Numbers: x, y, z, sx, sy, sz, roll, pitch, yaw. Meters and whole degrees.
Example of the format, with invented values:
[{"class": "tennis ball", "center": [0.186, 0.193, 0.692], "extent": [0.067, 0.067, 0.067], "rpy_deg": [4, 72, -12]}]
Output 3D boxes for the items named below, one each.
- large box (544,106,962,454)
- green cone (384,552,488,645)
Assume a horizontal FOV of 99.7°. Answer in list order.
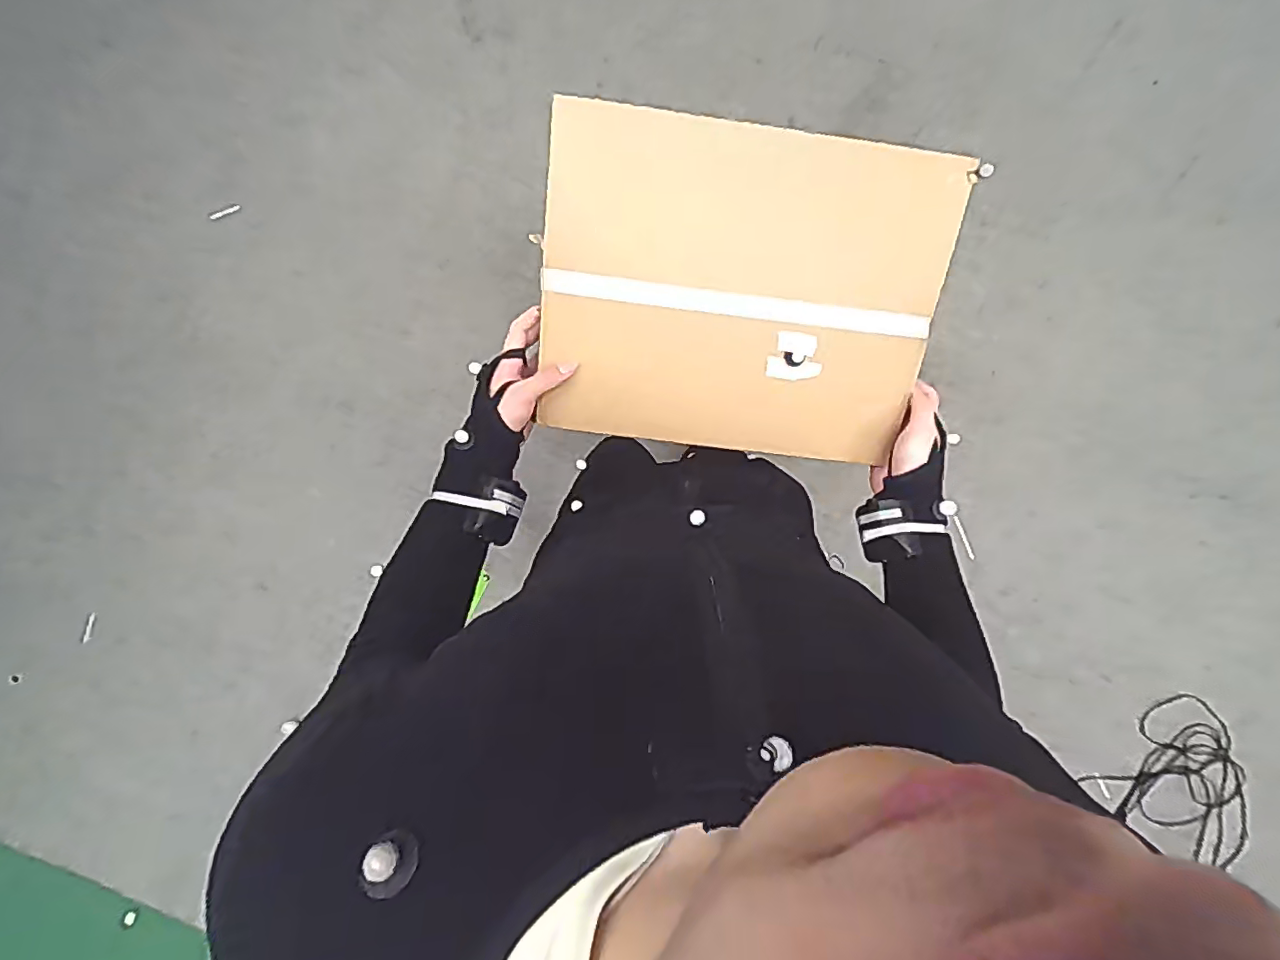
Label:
[{"class": "large box", "center": [0.096, -0.240, 0.702], "extent": [0.408, 0.320, 0.320], "rpy_deg": [5, 112, -4]}, {"class": "green cone", "center": [-0.605, 0.363, 1.512], "extent": [0.200, 0.368, 0.202], "rpy_deg": [27, 97, 0]}]
